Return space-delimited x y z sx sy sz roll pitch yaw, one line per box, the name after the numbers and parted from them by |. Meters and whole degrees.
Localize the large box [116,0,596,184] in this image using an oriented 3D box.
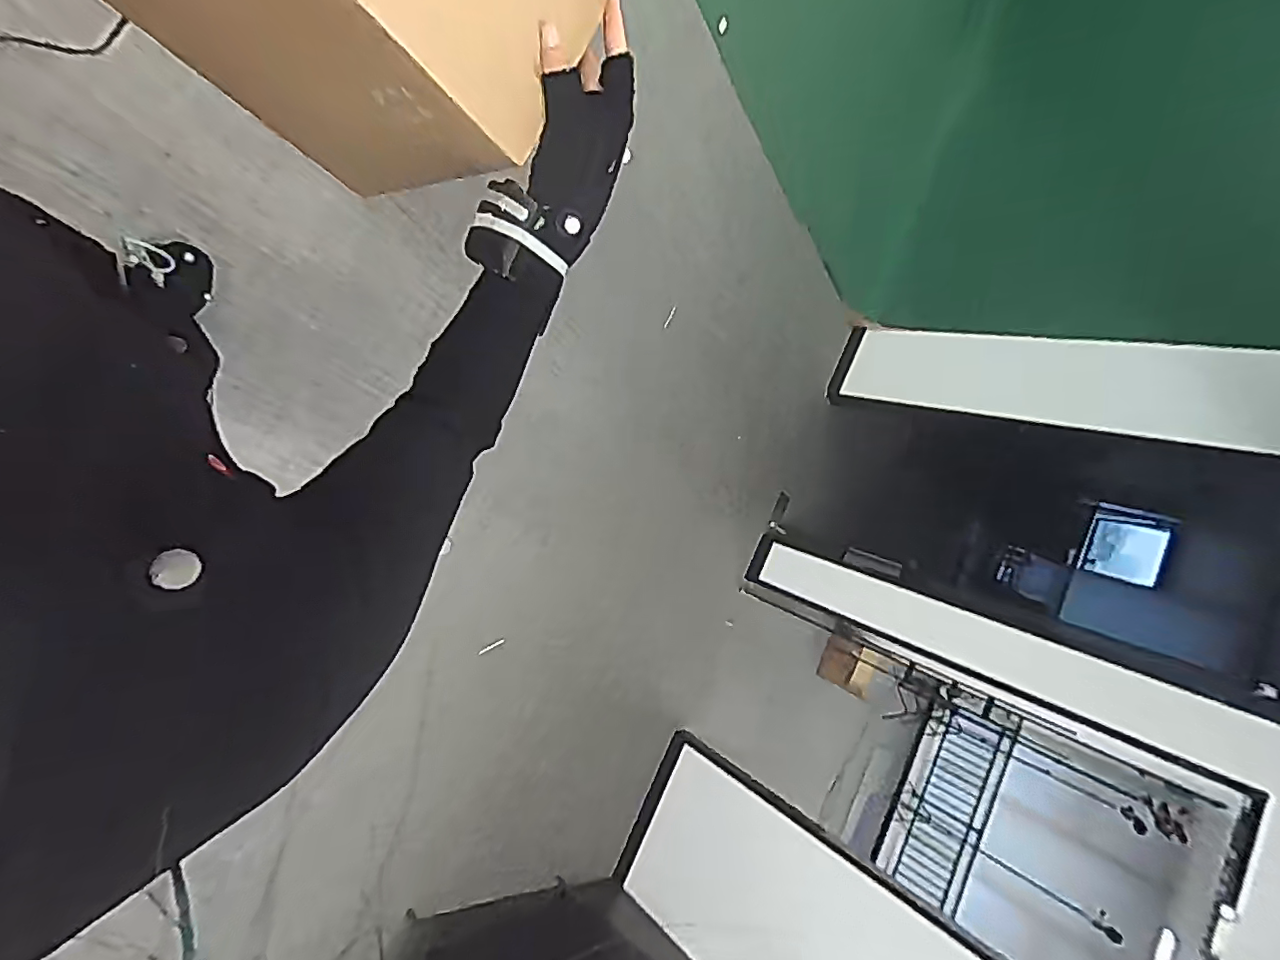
-0.252 -0.487 0.371 0.408 0.320 0.320 29 84 -50 | large box
